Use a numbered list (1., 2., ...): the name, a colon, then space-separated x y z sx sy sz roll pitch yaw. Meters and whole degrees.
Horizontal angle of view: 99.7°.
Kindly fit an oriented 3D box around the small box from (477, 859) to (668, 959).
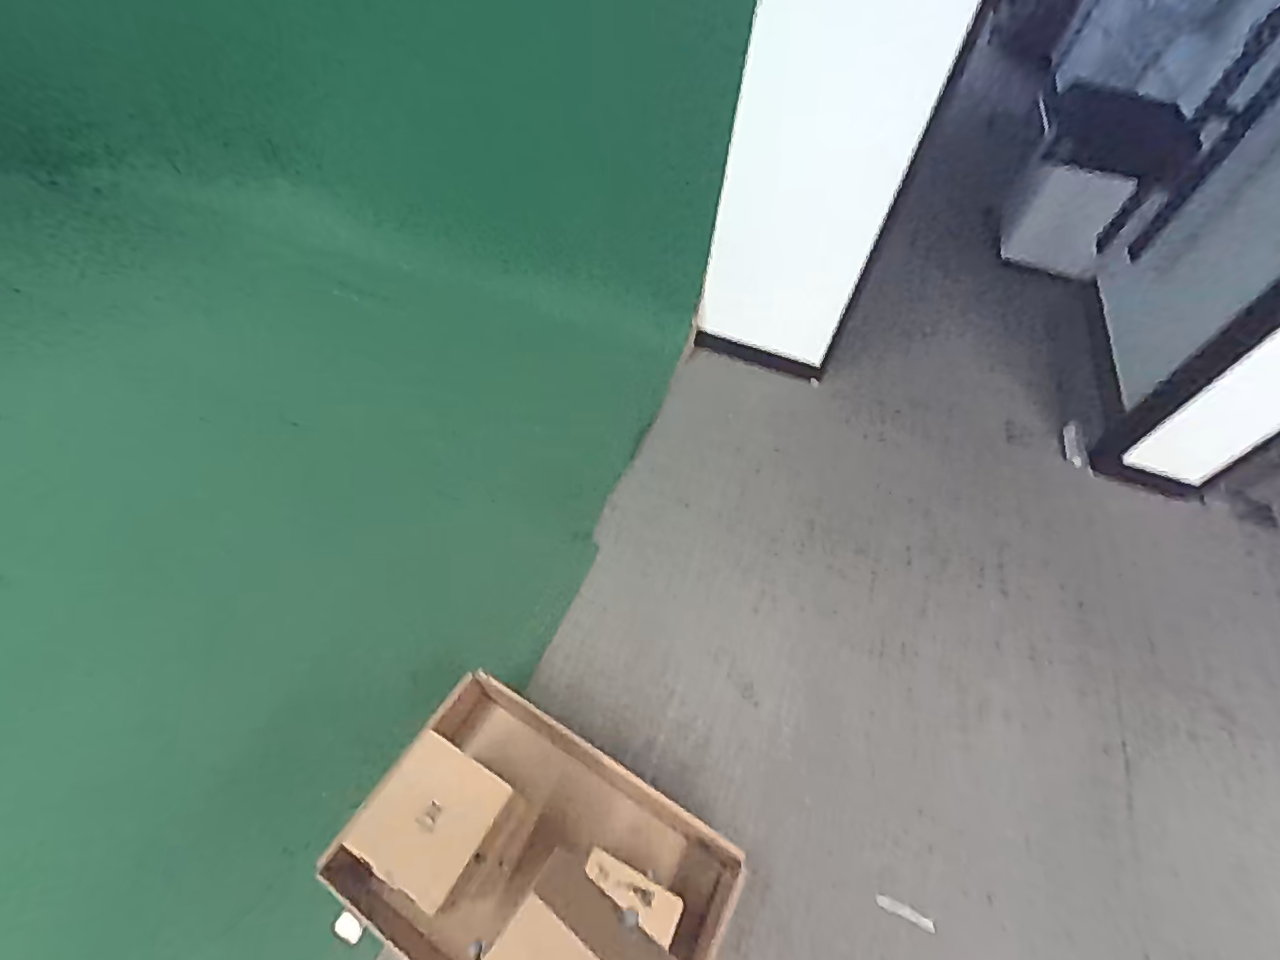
1. small box: -0.072 0.454 0.432 0.168 0.176 0.179 36 69 14

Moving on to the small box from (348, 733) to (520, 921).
1. small box: -0.302 0.531 0.839 0.168 0.176 0.179 28 57 14
